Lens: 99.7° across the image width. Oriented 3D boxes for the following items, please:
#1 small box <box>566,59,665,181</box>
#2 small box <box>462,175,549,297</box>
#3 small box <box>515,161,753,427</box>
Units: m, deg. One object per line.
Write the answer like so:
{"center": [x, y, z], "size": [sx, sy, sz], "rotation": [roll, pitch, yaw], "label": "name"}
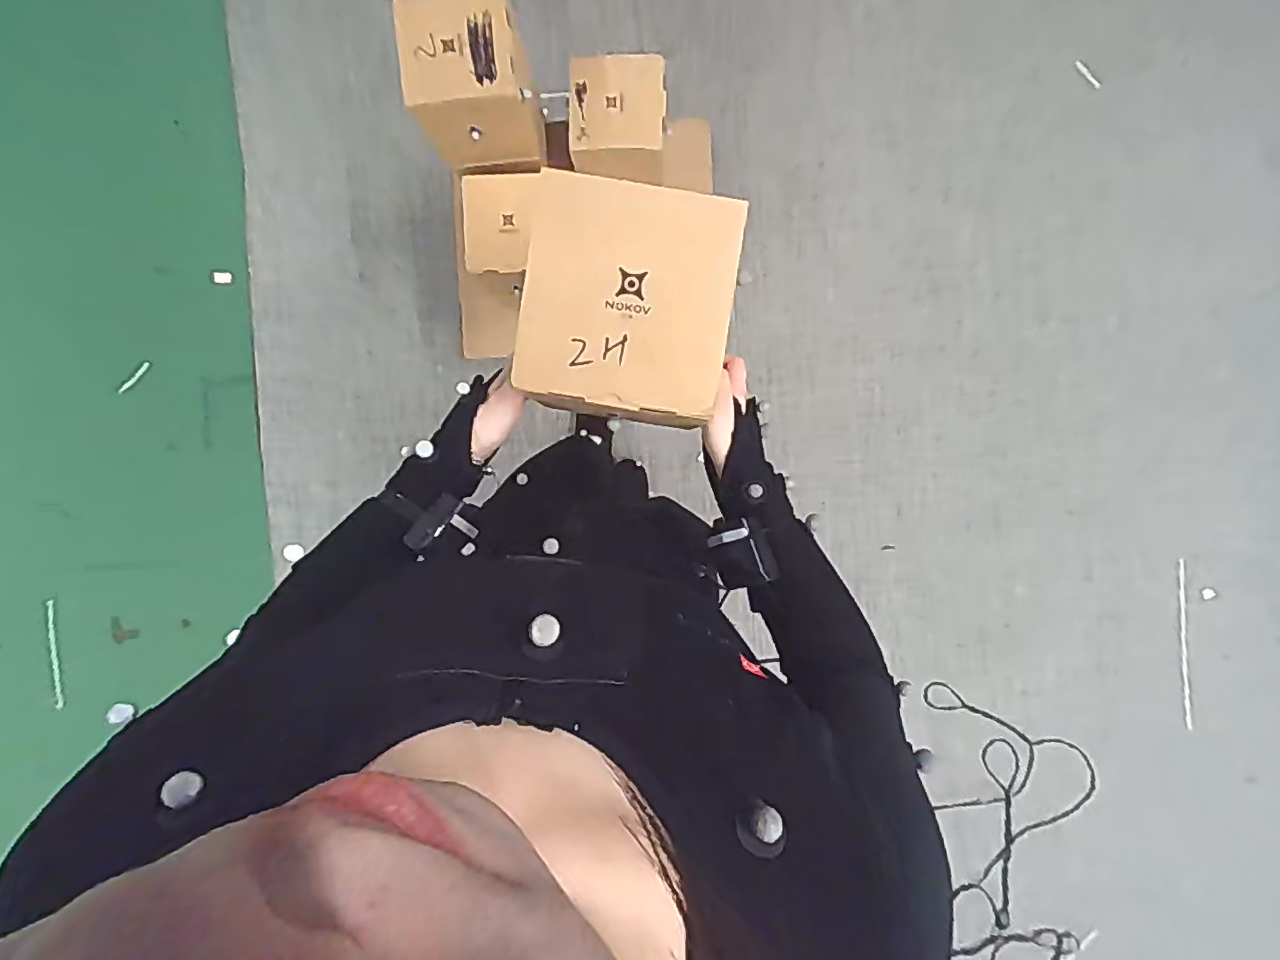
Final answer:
{"center": [-0.043, -0.680, 1.057], "size": [0.179, 0.176, 0.168], "rotation": [1, 93, 3], "label": "small box"}
{"center": [-0.244, -0.475, 1.071], "size": [0.168, 0.176, 0.179], "rotation": [-2, 94, 0], "label": "small box"}
{"center": [-0.007, -0.152, 0.503], "size": [0.168, 0.176, 0.179], "rotation": [9, 92, -1], "label": "small box"}
